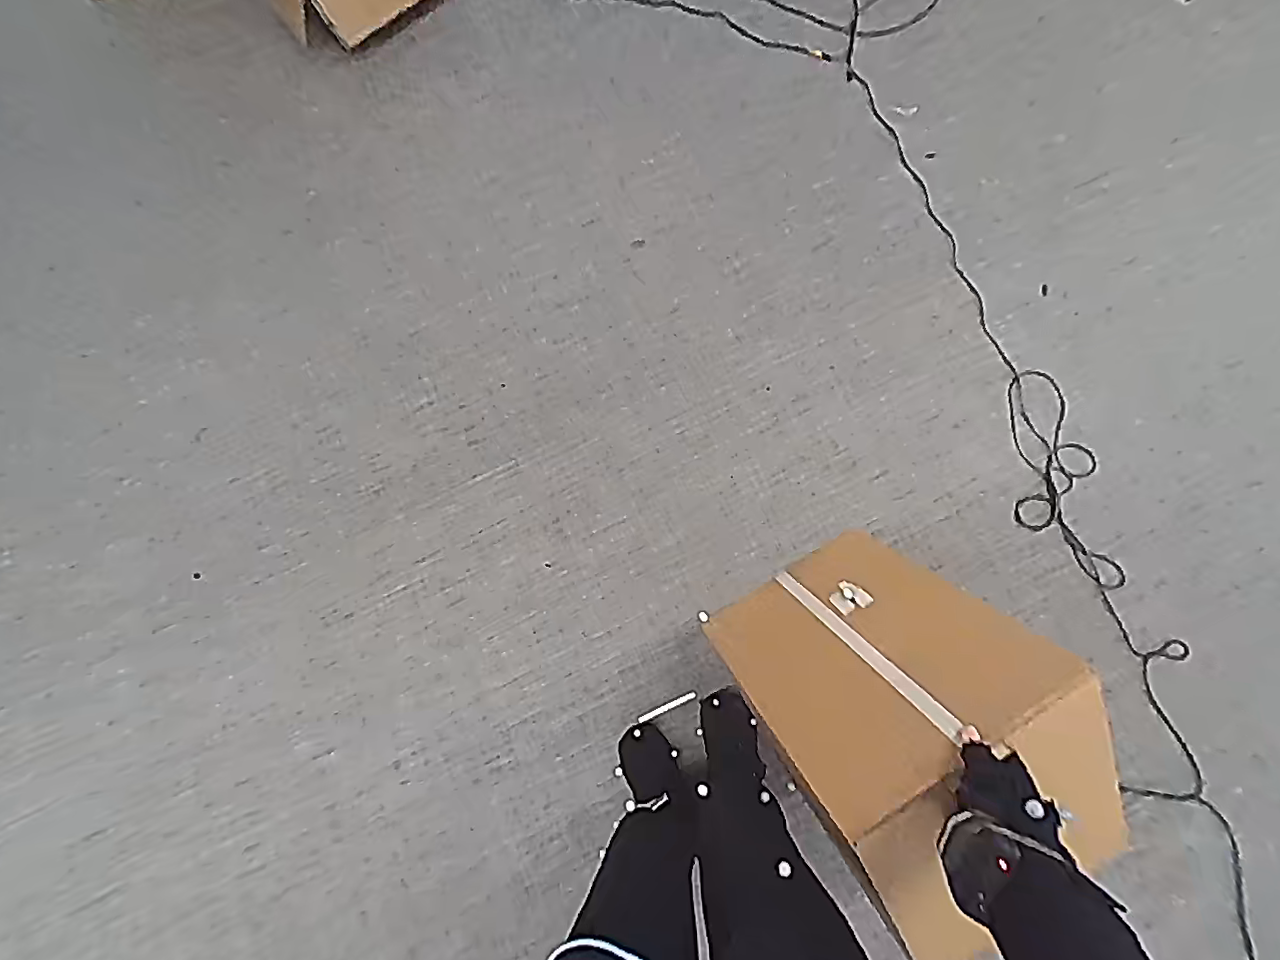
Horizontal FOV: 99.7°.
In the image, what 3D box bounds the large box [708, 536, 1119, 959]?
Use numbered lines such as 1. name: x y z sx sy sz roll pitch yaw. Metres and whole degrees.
1. large box: 0.364 0.349 0.795 0.320 0.408 0.320 -30 112 -5
